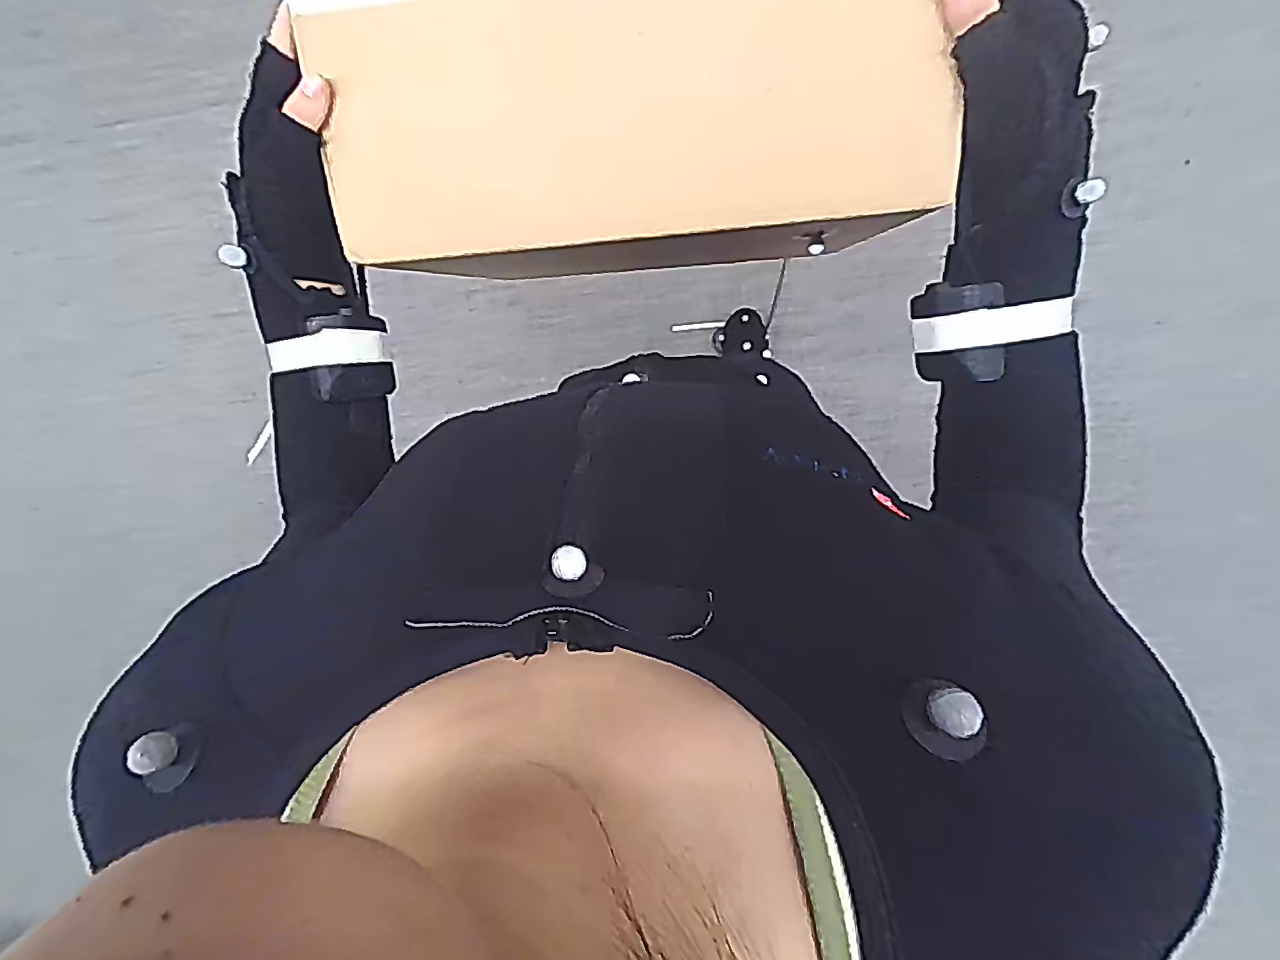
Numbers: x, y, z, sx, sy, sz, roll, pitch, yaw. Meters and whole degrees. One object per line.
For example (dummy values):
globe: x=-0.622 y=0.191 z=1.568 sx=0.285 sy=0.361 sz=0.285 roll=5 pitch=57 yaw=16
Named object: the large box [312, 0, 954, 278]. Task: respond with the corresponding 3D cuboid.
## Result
large box: x=0.002 y=-0.359 z=0.467 sx=0.408 sy=0.320 sz=0.320 roll=-2 pitch=107 yaw=8
